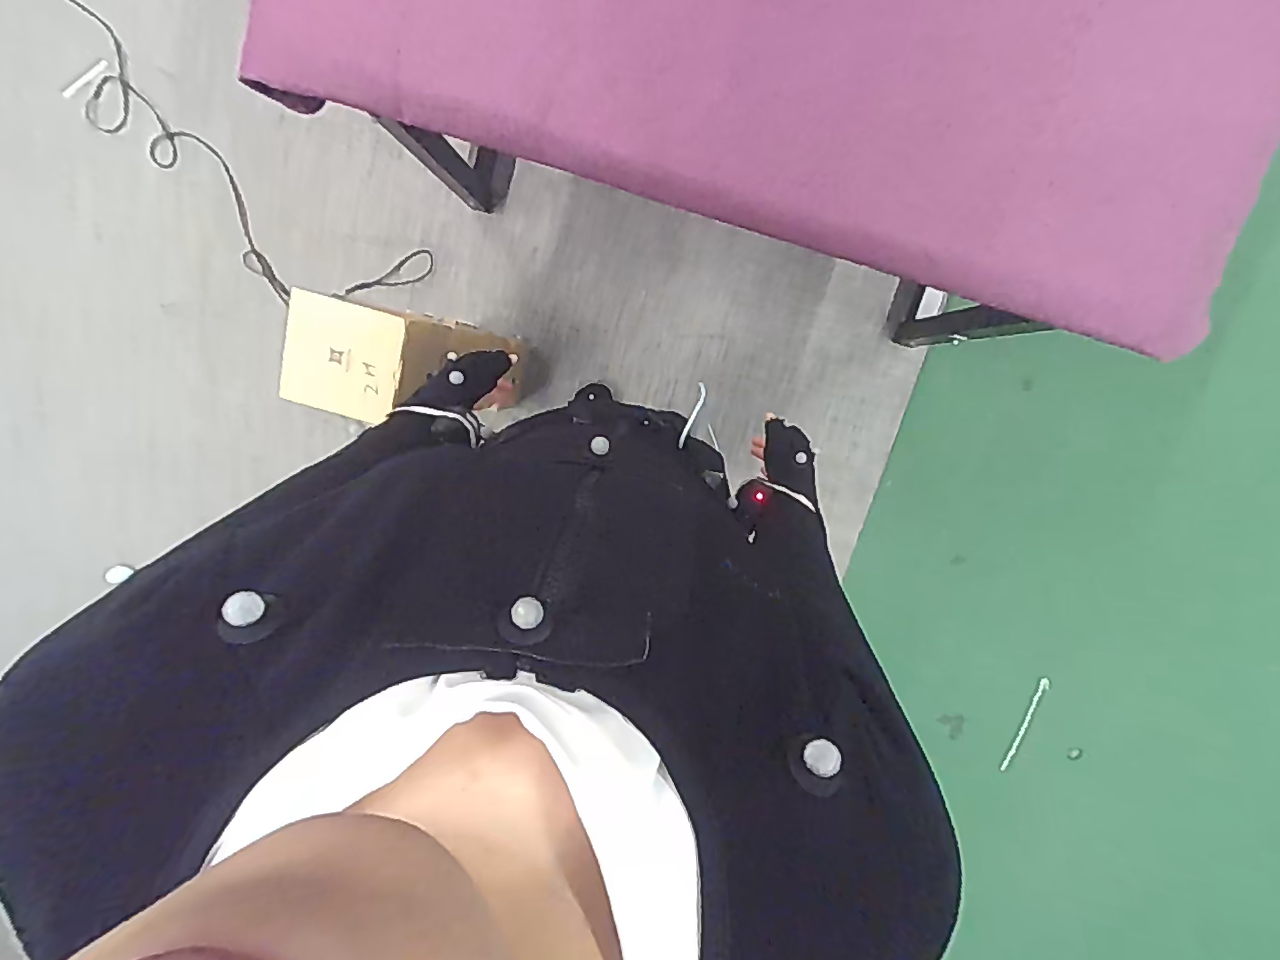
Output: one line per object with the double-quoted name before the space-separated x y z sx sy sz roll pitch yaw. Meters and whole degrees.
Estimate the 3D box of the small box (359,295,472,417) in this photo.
"small box" -0.434 -0.235 1.031 0.168 0.176 0.179 16 103 -2

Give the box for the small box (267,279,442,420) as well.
"small box" -0.448 -0.205 0.869 0.179 0.176 0.168 16 103 -3
